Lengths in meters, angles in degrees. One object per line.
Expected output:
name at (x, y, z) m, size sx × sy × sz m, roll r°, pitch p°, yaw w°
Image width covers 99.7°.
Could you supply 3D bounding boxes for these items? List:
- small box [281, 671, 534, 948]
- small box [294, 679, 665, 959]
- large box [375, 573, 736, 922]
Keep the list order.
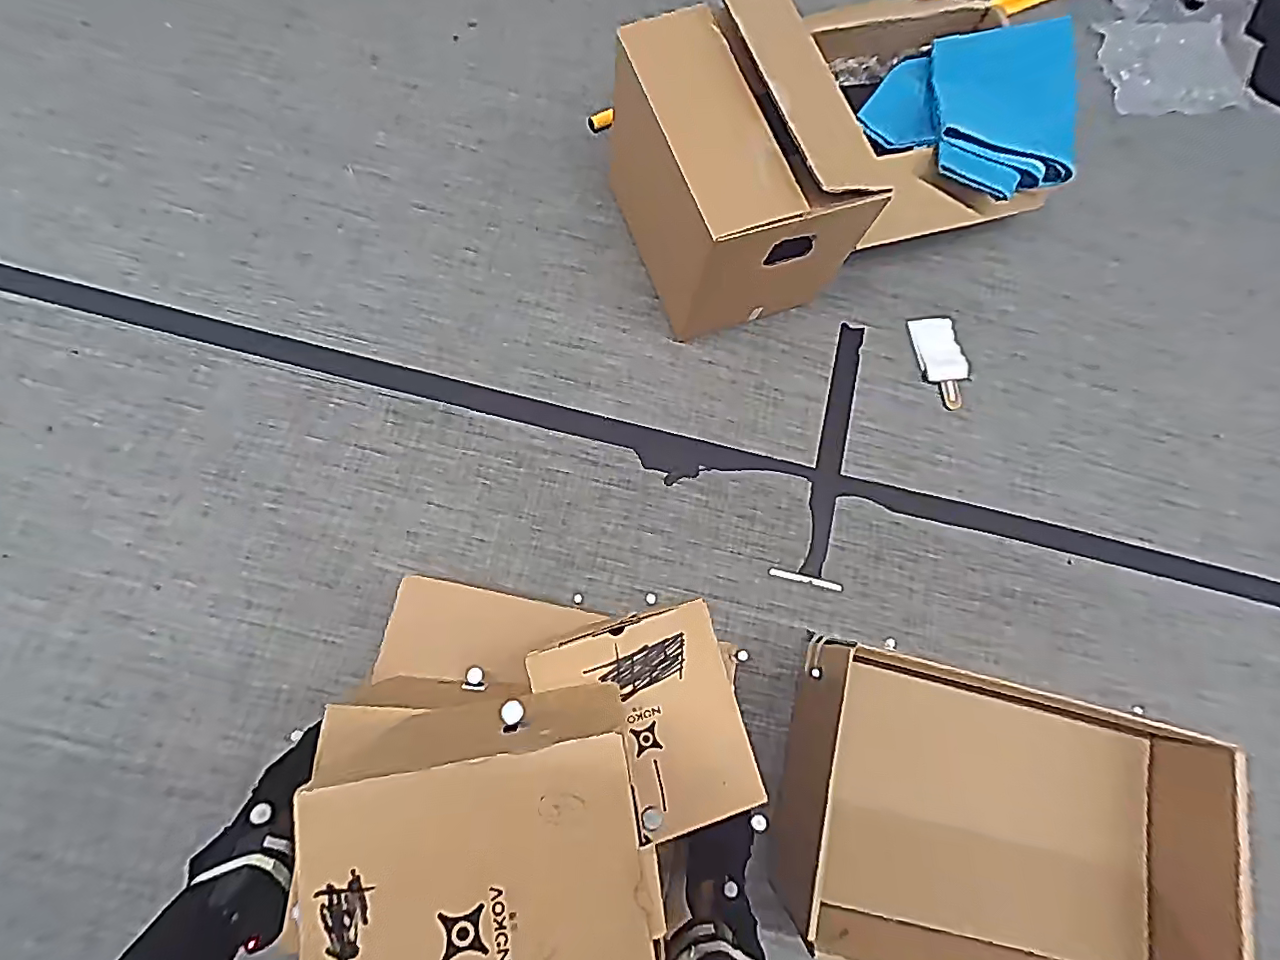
small box at (-0.187, 0.282, 0.498) m, size 0.168 × 0.176 × 0.179 m, roll 5°, pitch 76°, yaw -7°
small box at (-0.086, 0.237, 0.349) m, size 0.179 × 0.176 × 0.168 m, roll -8°, pitch 79°, yaw -6°
large box at (-0.122, 0.321, 0.744) m, size 0.408 × 0.320 × 0.320 m, roll 12°, pitch 78°, yaw -3°
